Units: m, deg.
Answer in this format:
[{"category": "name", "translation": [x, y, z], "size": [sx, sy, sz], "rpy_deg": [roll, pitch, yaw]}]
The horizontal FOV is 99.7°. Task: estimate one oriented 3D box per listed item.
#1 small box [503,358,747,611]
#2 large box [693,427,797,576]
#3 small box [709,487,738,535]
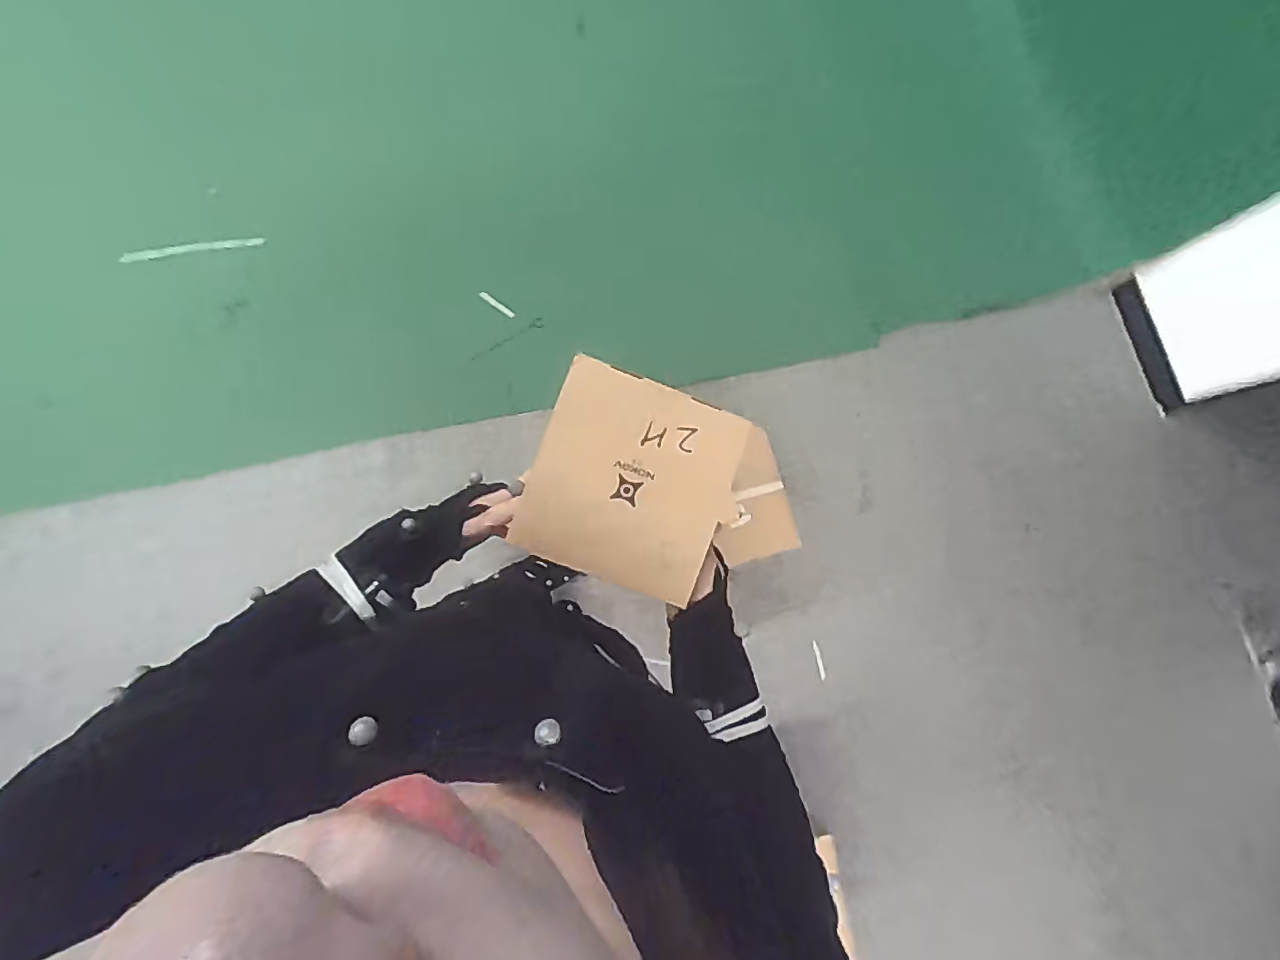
[{"category": "small box", "translation": [-0.018, 0.005, 0.541], "size": [0.168, 0.176, 0.179], "rpy_deg": [21, 88, -6]}, {"category": "large box", "translation": [0.130, 0.086, 1.427], "size": [0.408, 0.320, 0.320], "rpy_deg": [-13, 82, -11]}, {"category": "small box", "translation": [0.093, 0.044, 1.178], "size": [0.168, 0.176, 0.179], "rpy_deg": [-14, 80, -11]}]
